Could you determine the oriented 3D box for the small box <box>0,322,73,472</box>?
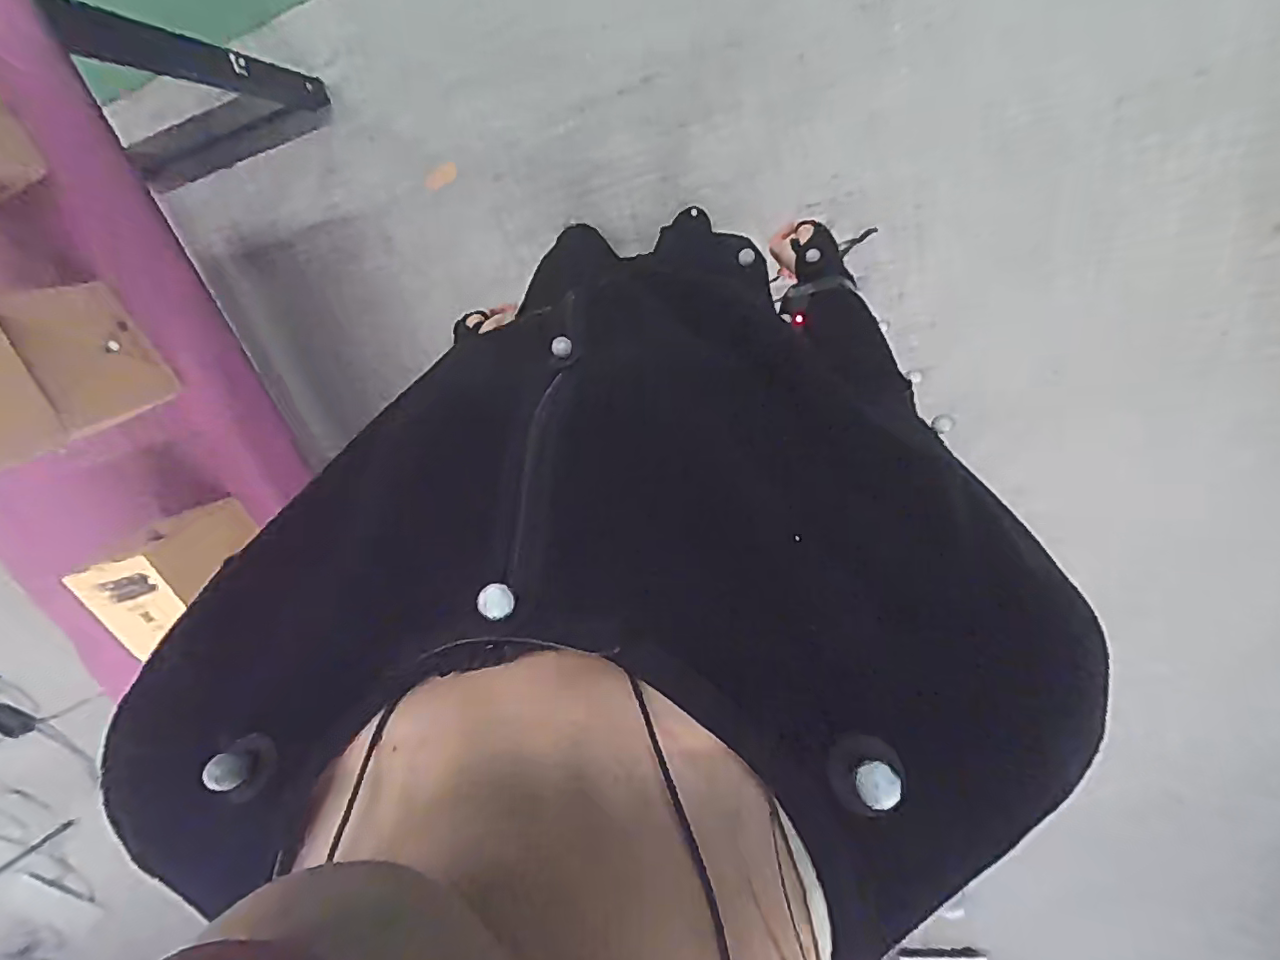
[{"bbox_3d":[-0.782,-0.082,0.563,0.168,0.176,0.179,-4,117,10],"label":"small box"}]

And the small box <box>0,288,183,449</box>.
[{"bbox_3d":[-0.782,-0.138,0.720,0.179,0.176,0.168,-17,114,15],"label":"small box"}]
